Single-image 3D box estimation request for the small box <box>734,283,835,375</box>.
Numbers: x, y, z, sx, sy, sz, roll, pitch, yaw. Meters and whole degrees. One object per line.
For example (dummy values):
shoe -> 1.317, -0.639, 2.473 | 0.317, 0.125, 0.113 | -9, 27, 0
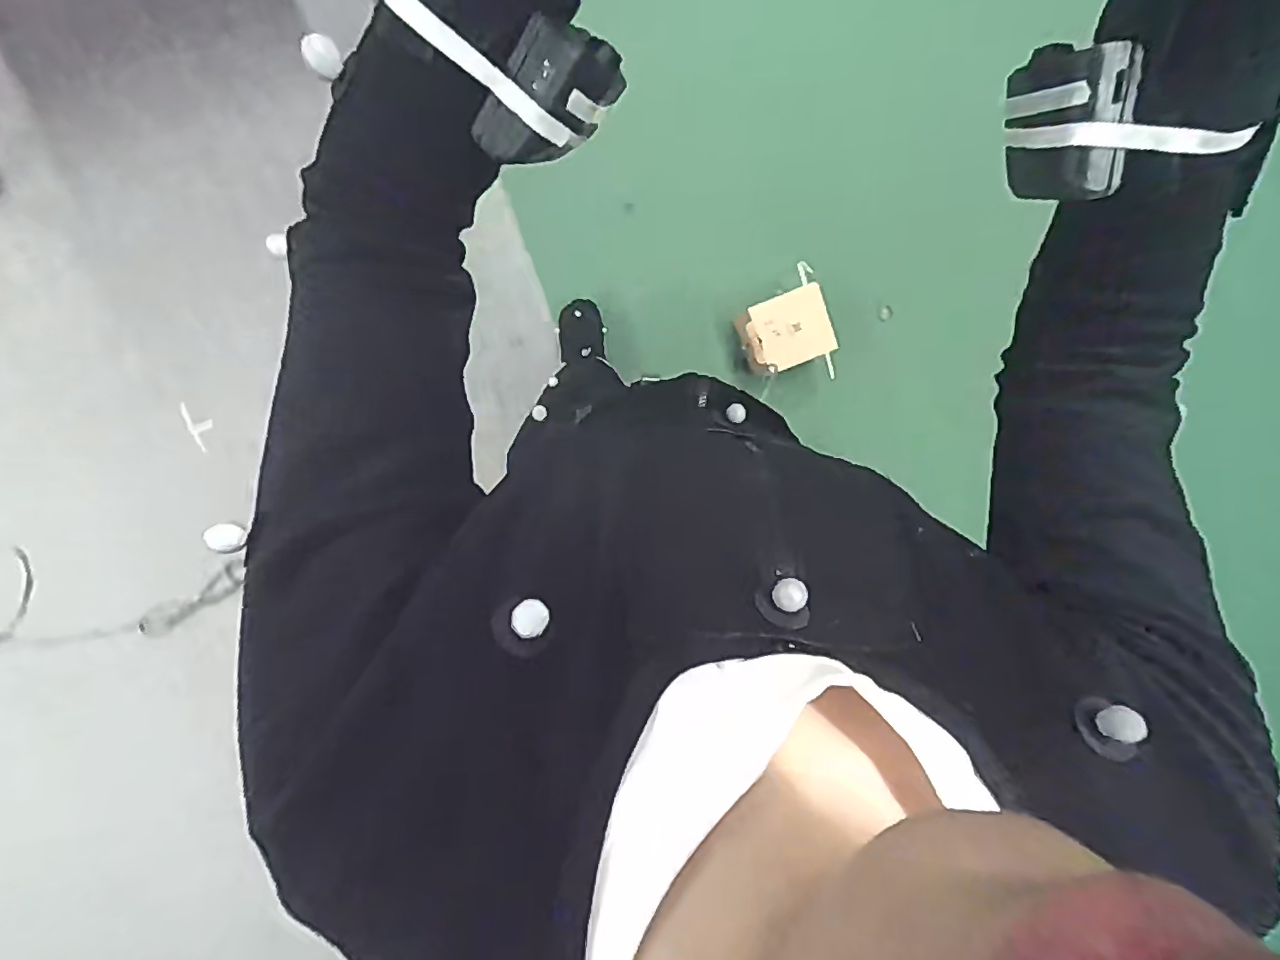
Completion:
small box -> 0.354, -0.370, 1.349 | 0.179, 0.176, 0.168 | -21, 99, 1
